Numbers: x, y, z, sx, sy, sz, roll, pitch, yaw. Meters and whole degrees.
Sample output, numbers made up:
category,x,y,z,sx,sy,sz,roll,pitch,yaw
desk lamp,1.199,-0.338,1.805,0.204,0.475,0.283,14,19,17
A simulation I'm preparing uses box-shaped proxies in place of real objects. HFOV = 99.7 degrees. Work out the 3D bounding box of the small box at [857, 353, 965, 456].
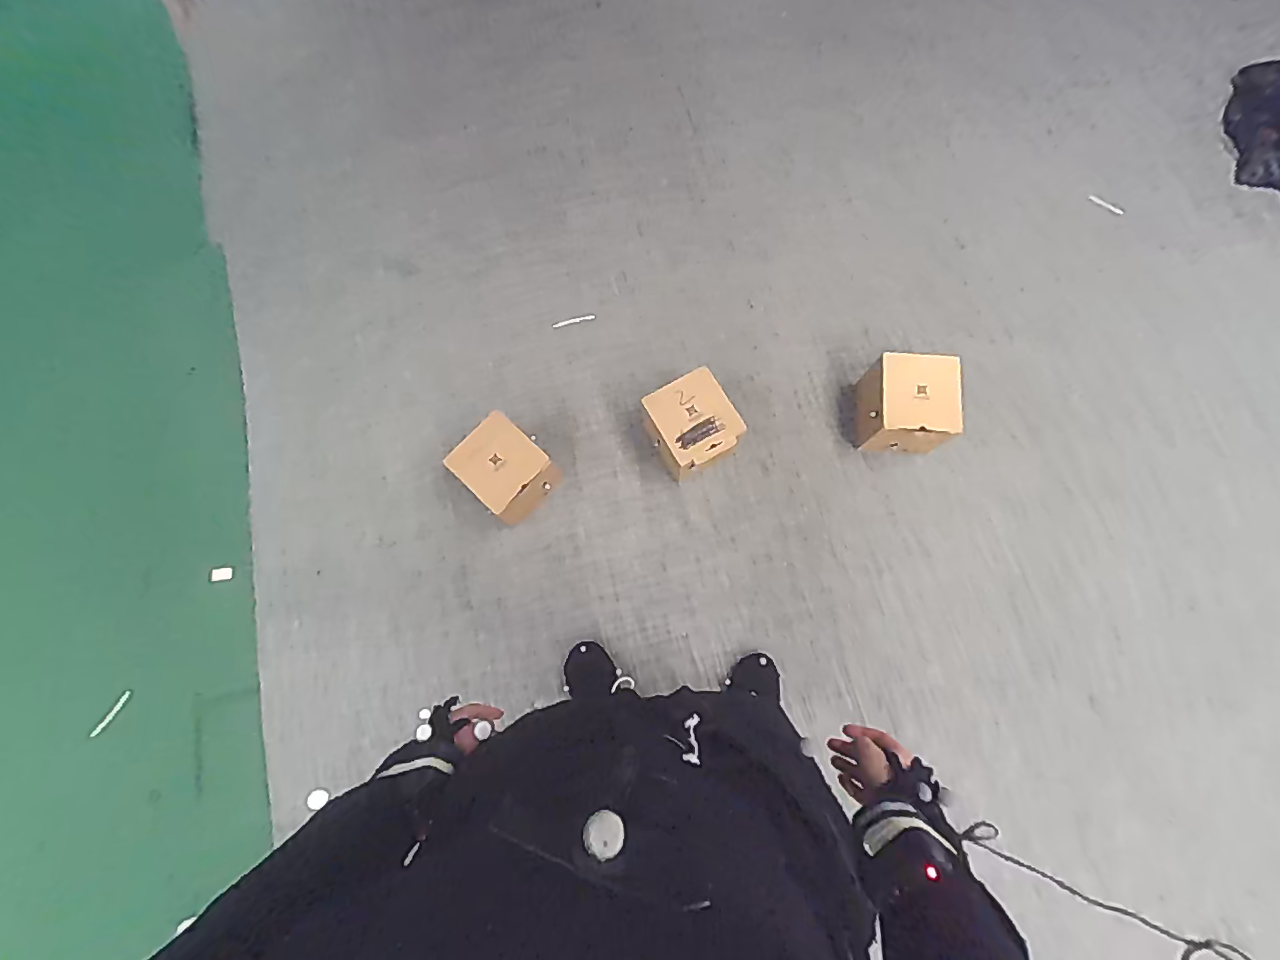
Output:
category,x,y,z,sx,sy,sz,roll,pitch,yaw
small box,0.599,-0.165,1.217,0.168,0.176,0.179,4,78,3

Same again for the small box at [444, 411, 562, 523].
category,x,y,z,sx,sy,sz,roll,pitch,yaw
small box,-0.297,-0.019,1.218,0.179,0.176,0.168,42,81,11
